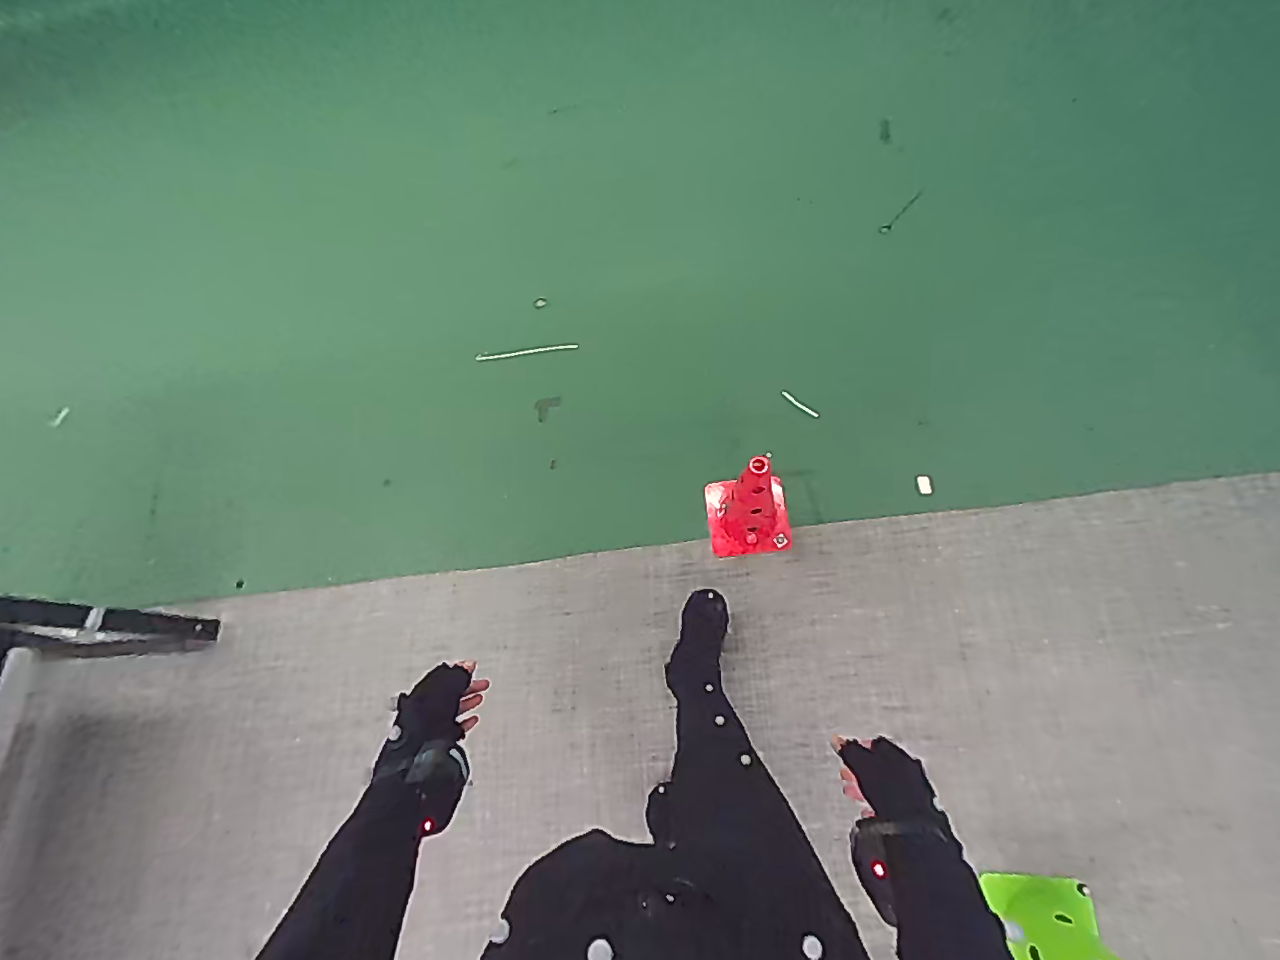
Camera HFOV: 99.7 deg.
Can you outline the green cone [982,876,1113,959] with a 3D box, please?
[{"bbox_3d":[0.745,0.814,0.866,0.200,0.368,0.202,-2,69,7],"label":"green cone"}]
